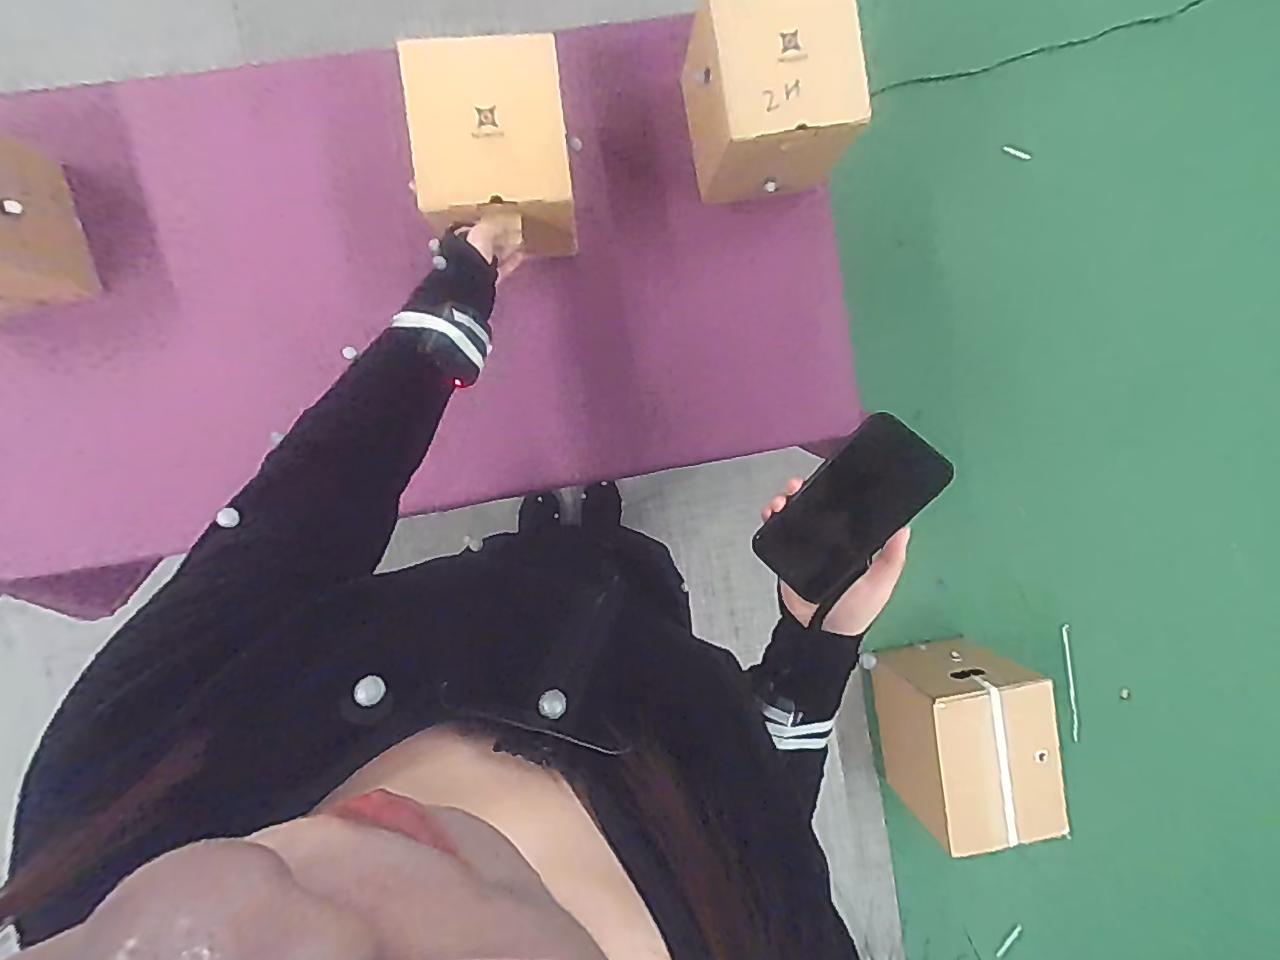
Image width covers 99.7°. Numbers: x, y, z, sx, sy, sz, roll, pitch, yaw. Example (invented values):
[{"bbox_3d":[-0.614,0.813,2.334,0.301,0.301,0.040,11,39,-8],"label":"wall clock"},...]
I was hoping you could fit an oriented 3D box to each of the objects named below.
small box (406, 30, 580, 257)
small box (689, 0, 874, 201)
[{"bbox_3d":[-0.165,-0.393,0.657,0.168,0.176,0.179,-7,95,-4],"label":"small box"},{"bbox_3d":[0.163,-0.481,0.673,0.168,0.176,0.179,-10,95,-3],"label":"small box"}]
